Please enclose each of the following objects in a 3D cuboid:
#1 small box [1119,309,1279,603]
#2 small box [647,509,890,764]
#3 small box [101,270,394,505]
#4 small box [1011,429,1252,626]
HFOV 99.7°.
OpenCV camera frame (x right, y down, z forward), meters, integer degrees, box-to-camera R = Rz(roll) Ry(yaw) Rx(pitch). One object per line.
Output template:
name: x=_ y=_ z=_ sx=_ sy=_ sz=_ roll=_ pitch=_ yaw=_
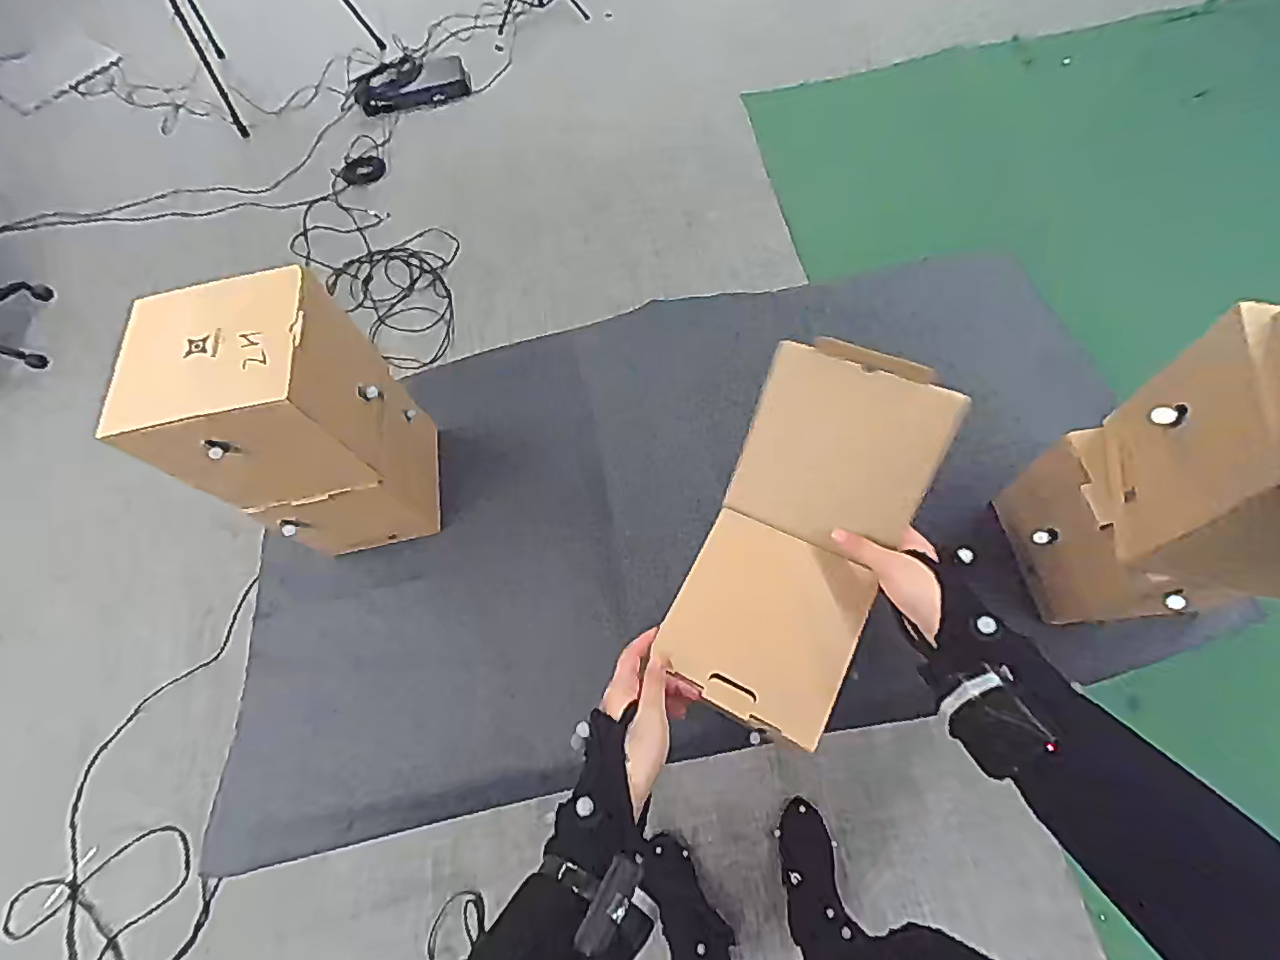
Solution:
small box: x=0.531 y=-0.007 z=0.433 sx=0.179 sy=0.176 sz=0.168 roll=13 pitch=64 yaw=13
small box: x=0.129 y=0.166 z=0.563 sx=0.168 sy=0.176 sz=0.179 roll=27 pitch=70 yaw=19
small box: x=-0.391 y=-0.086 z=0.575 sx=0.179 sy=0.176 sz=0.168 roll=-11 pitch=65 yaw=0
small box: x=0.543 y=0.054 z=0.585 sx=0.179 sy=0.176 sz=0.168 roll=-7 pitch=62 yaw=4
